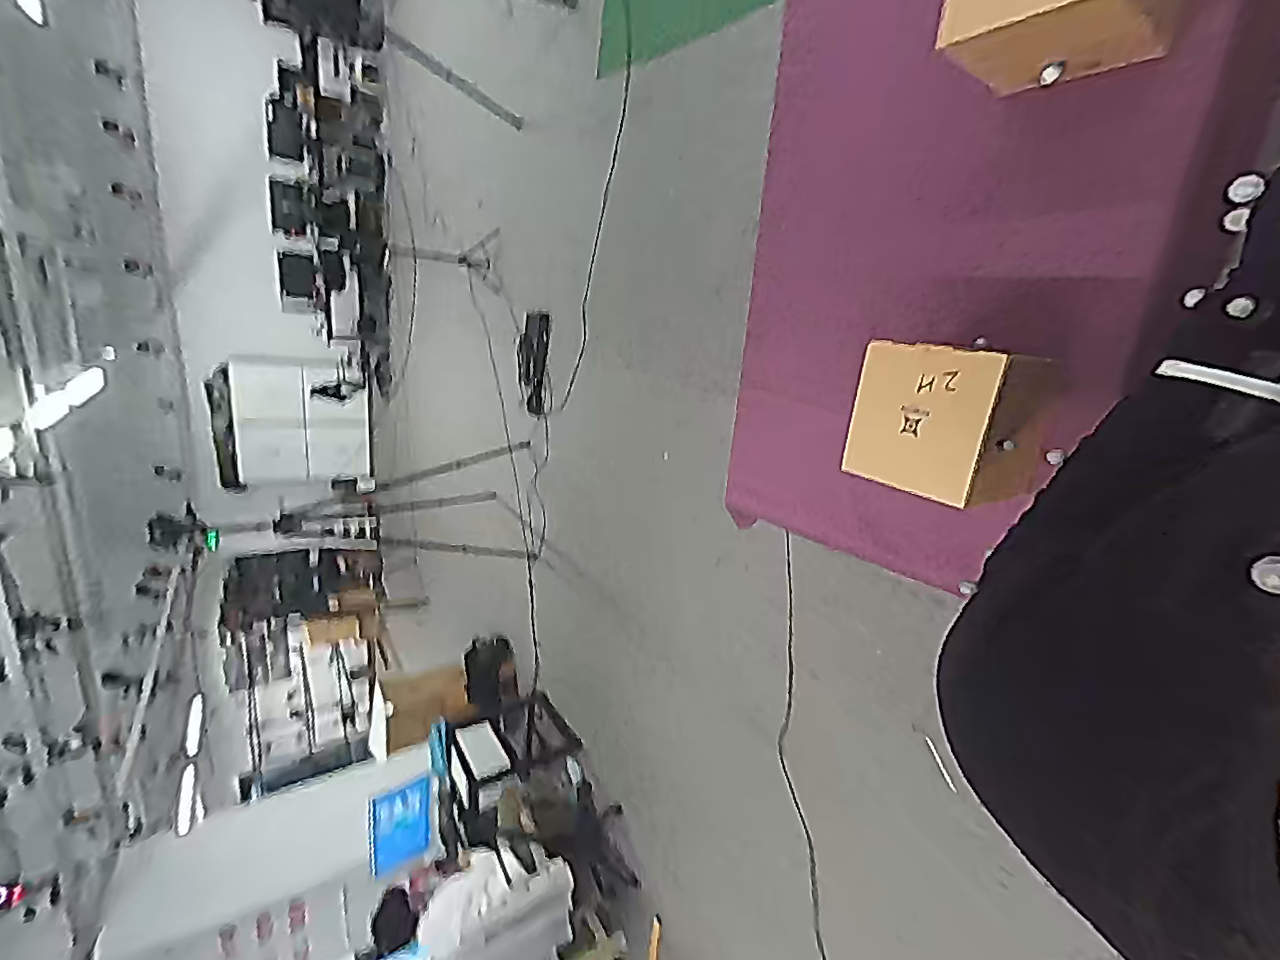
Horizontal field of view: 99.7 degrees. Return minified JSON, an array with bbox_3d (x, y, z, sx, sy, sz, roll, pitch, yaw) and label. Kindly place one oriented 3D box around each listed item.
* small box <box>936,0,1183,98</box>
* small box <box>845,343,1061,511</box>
[{"bbox_3d":[0.450,-0.540,0.563,0.168,0.176,0.179,27,117,52],"label":"small box"},{"bbox_3d":[0.400,-0.076,0.697,0.168,0.176,0.179,28,116,51],"label":"small box"}]
